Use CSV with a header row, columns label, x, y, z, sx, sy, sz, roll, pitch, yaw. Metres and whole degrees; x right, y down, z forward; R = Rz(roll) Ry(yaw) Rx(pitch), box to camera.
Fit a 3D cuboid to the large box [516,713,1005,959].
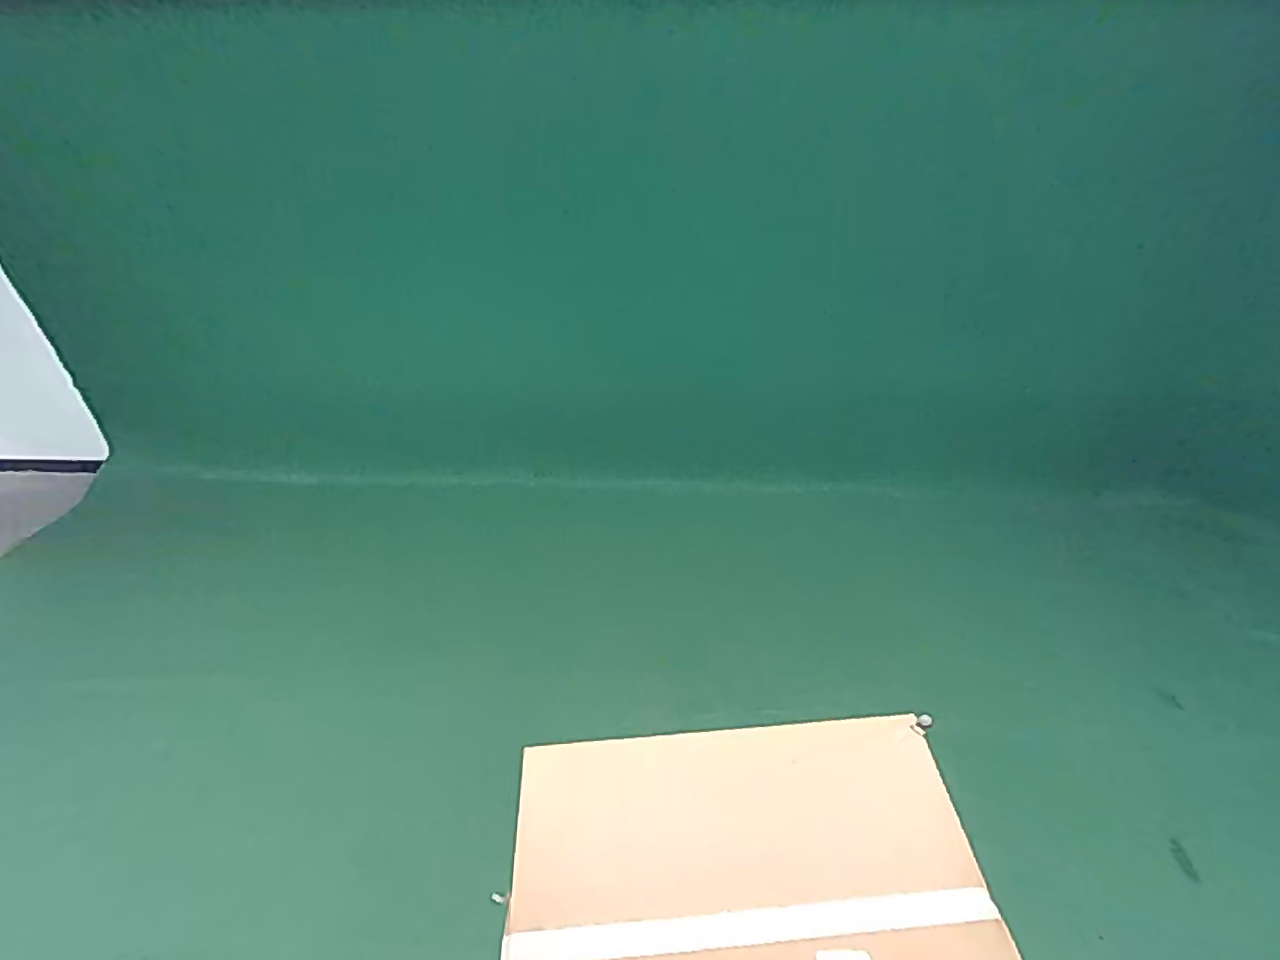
label,x,y,z,sx,sy,sz,roll,pitch,yaw
large box,0.097,0.476,0.563,0.408,0.320,0.320,-5,46,-2
